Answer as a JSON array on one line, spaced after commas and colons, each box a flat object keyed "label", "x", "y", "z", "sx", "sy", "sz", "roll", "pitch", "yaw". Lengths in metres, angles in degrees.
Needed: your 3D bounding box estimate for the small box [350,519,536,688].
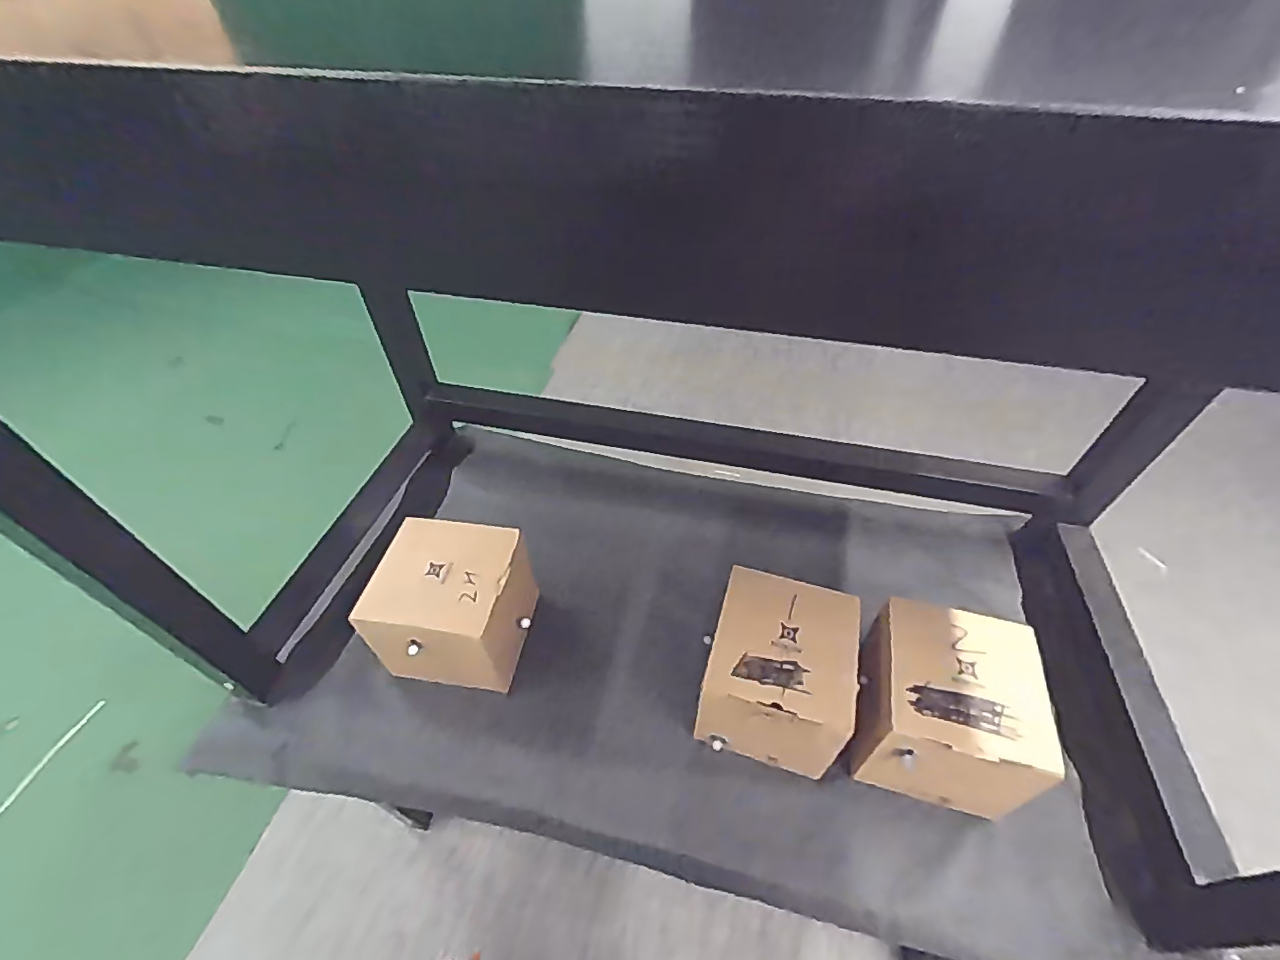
[{"label": "small box", "x": -0.263, "y": 0.178, "z": 0.772, "sx": 0.179, "sy": 0.176, "sz": 0.168, "roll": 7, "pitch": 48, "yaw": 6}]
